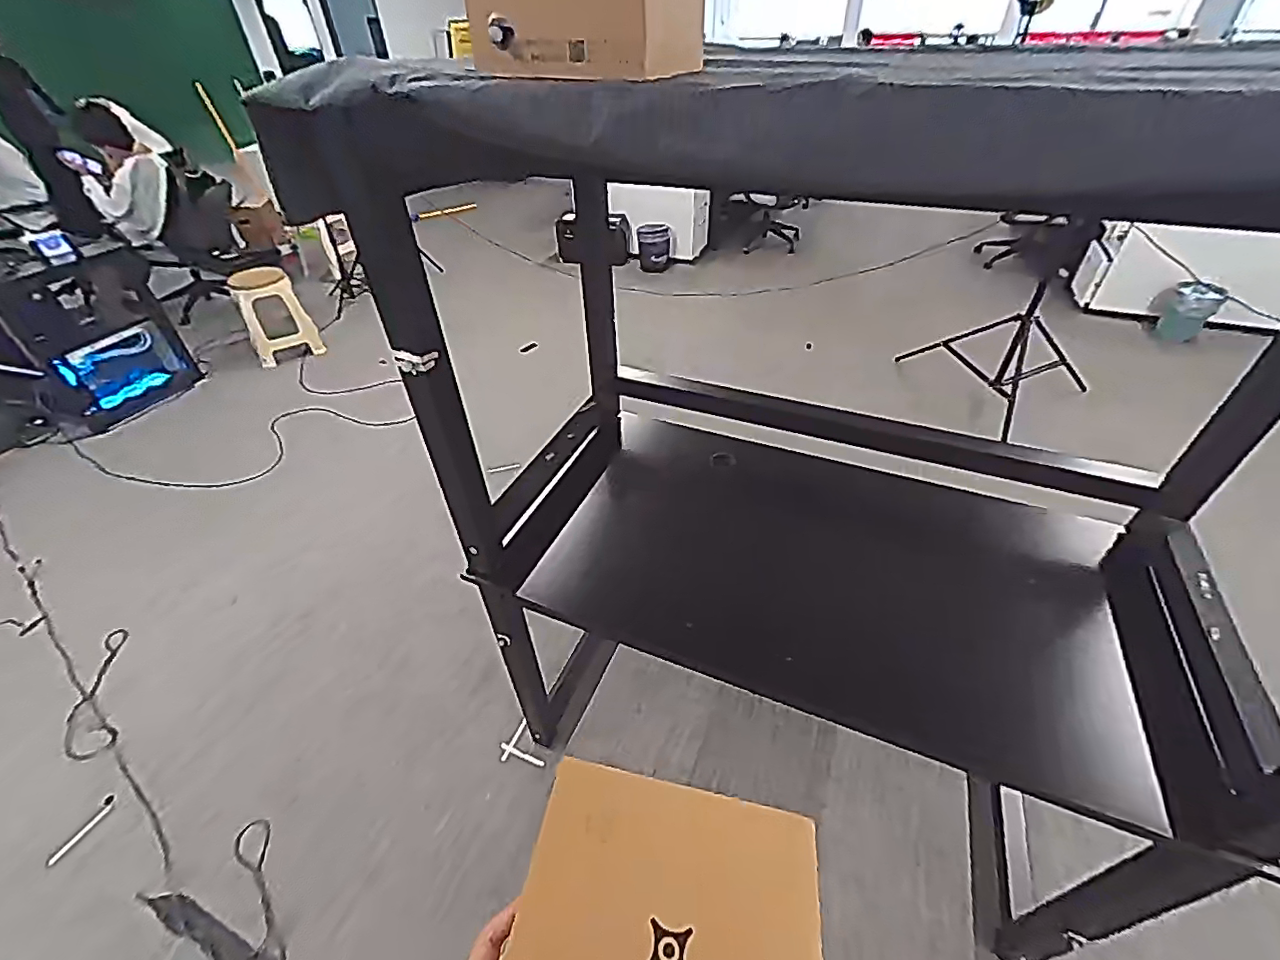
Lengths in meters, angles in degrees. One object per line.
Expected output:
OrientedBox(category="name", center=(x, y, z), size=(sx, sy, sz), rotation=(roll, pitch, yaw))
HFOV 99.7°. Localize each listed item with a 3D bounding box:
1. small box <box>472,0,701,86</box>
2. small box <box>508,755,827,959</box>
OrientedBox(category="small box", center=(-0.042, -0.455, 0.477), size=(0.168, 0.176, 0.179), rotation=(14, 41, 16))
OrientedBox(category="small box", center=(0.005, 0.307, 0.328), size=(0.168, 0.176, 0.179), rotation=(12, 39, 3))
